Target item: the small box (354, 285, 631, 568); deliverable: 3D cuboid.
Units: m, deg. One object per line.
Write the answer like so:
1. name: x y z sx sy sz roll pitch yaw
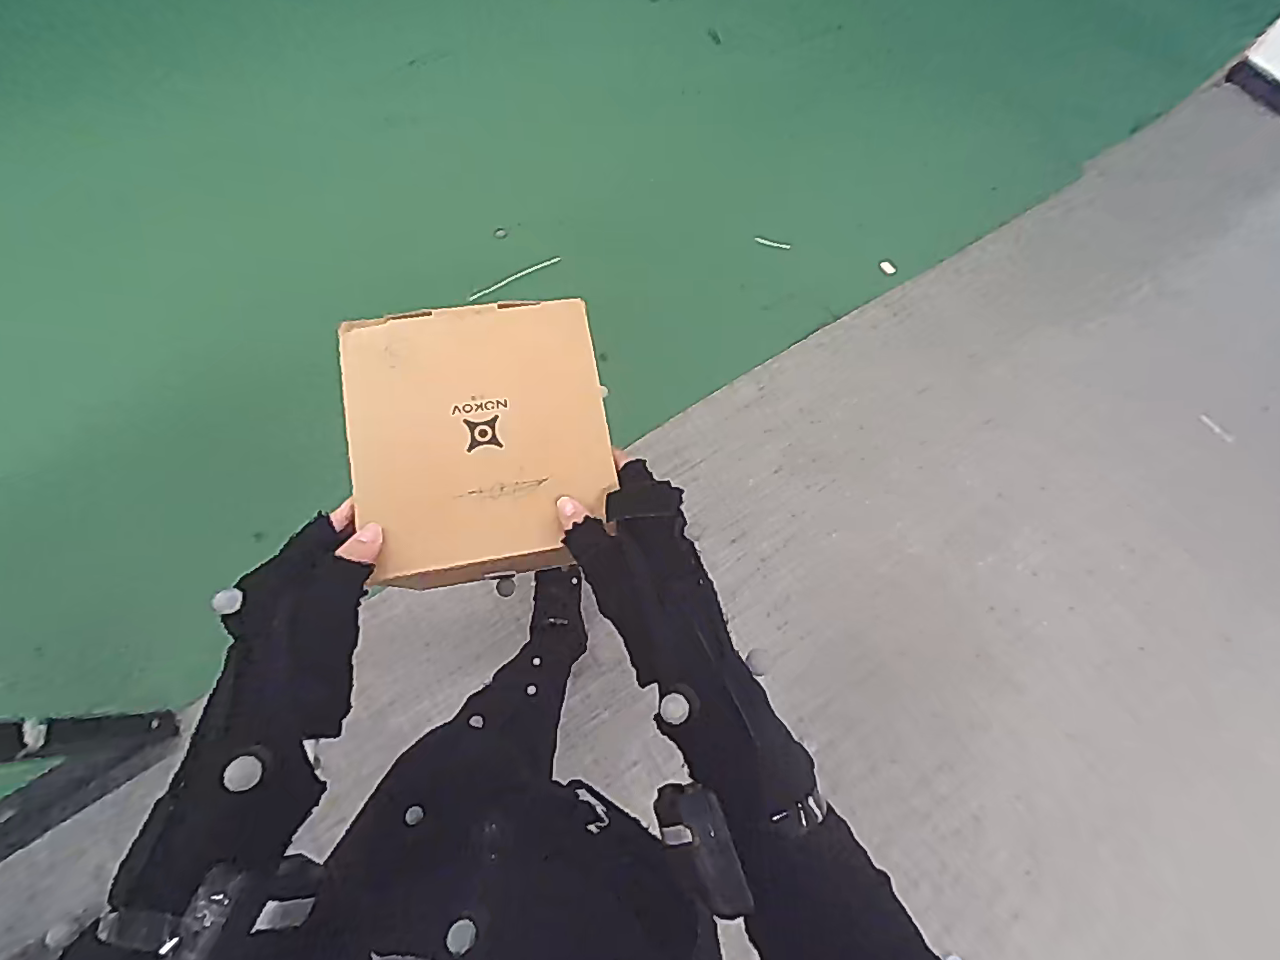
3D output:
1. small box: -0.111 -0.030 0.442 0.168 0.176 0.179 -10 80 -9
